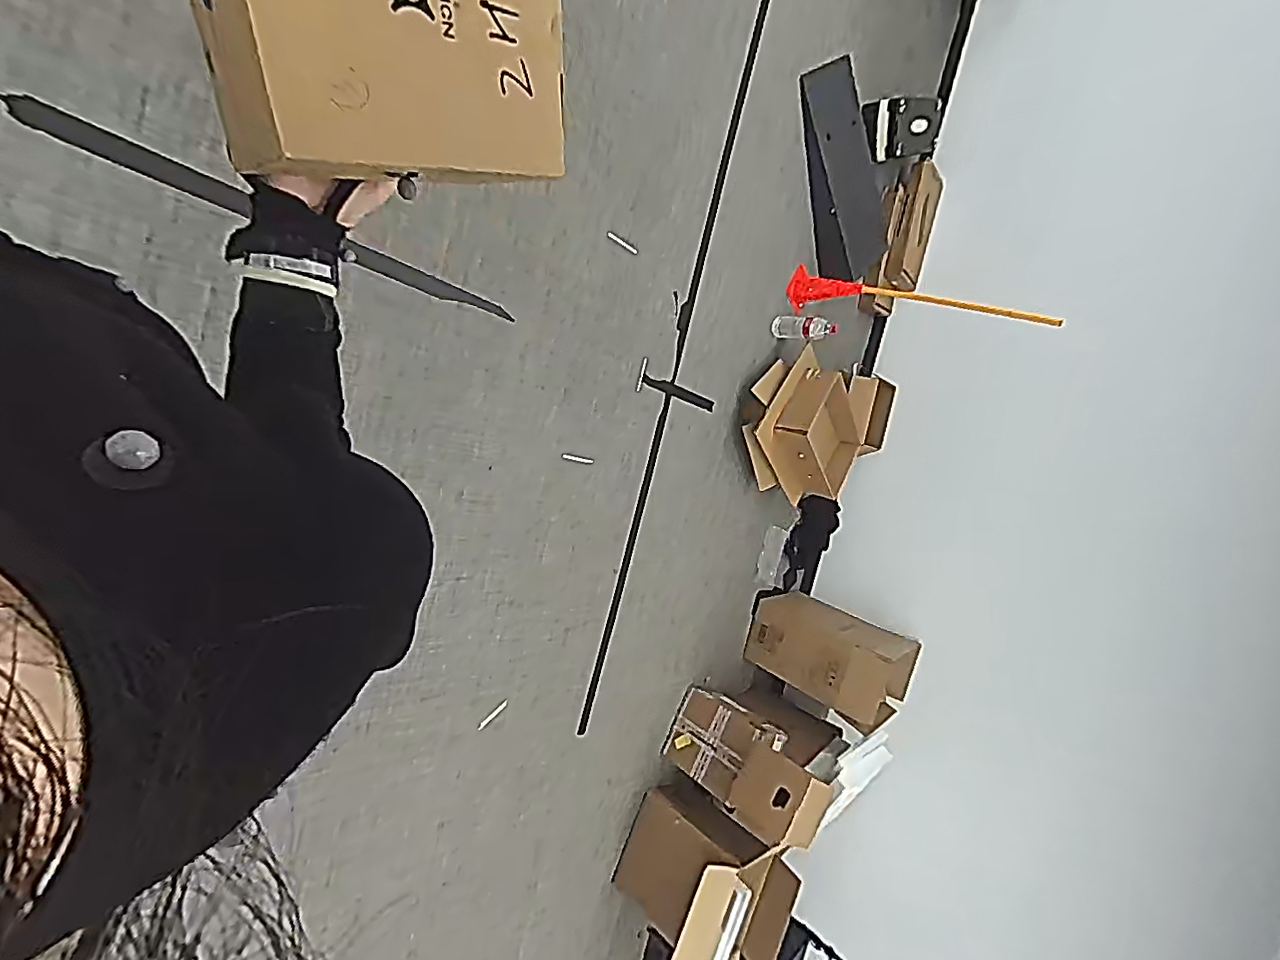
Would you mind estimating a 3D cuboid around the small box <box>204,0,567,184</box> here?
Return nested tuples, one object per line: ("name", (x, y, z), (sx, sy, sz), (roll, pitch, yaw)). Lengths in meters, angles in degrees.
("small box", (-0.168, -0.291, 0.351), (0.179, 0.176, 0.168), (-21, 124, -37))
